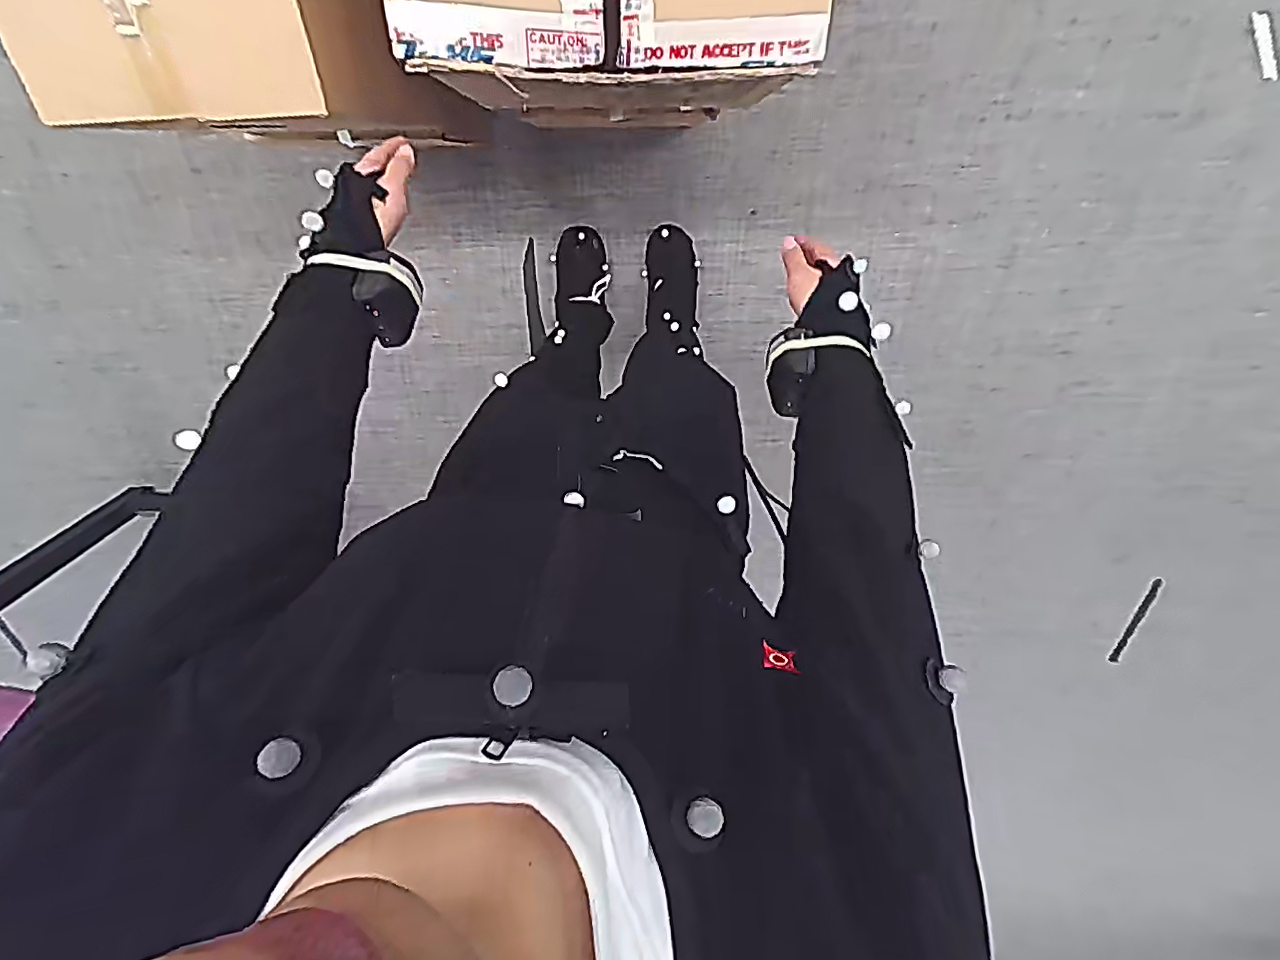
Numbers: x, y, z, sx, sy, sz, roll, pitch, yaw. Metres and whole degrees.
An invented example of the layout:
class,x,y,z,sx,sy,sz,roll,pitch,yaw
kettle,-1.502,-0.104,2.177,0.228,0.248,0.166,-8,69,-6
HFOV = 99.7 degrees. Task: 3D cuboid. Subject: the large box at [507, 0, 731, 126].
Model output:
class,x,y,z,sx,sy,sz,roll,pitch,yaw
large box,-0.035,-0.797,0.835,0.320,0.320,0.408,-1,121,1
